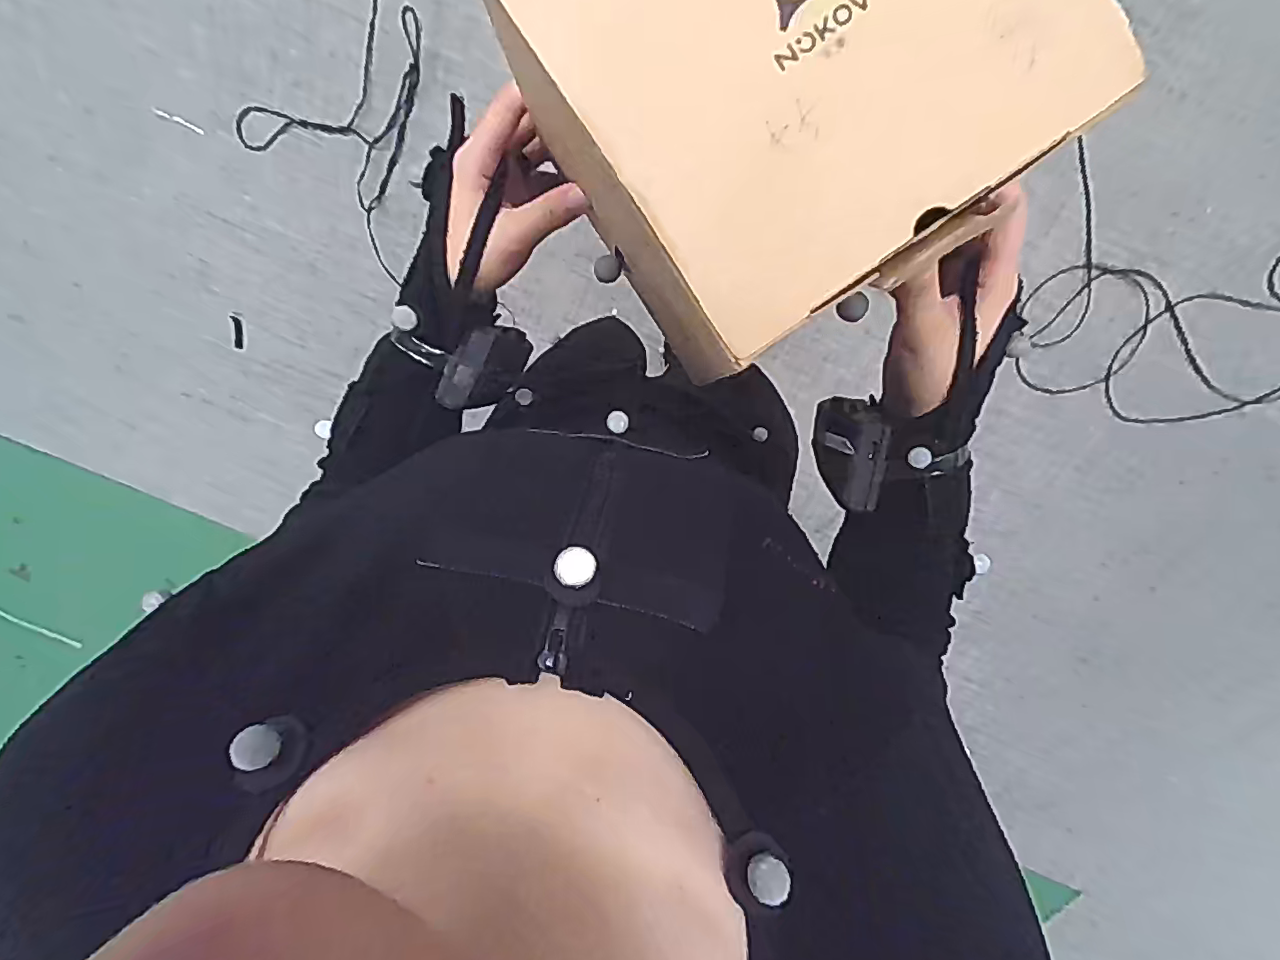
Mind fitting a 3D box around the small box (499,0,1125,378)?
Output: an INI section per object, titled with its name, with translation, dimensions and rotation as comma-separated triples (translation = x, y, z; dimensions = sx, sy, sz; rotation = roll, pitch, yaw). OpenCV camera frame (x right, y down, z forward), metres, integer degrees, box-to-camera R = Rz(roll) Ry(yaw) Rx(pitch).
[small box]
translation = 0.061, -0.166, 0.268
dimensions = 0.168, 0.176, 0.179
rotation = -33, 97, 5
